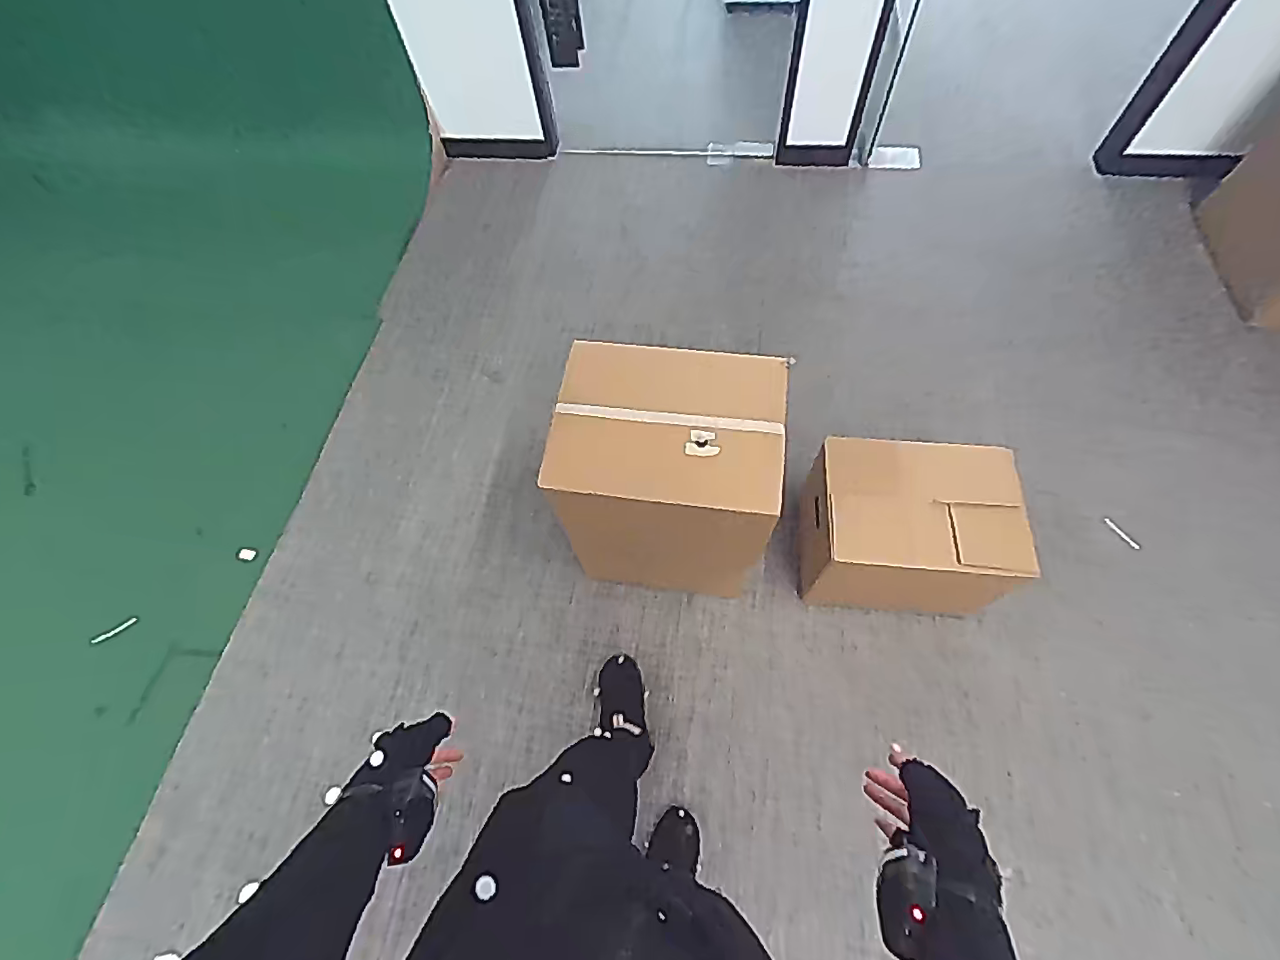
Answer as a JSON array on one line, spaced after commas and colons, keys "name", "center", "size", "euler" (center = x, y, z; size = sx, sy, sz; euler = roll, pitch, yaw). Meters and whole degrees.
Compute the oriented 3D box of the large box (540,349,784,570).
[{"name": "large box", "center": [0.052, -0.030, 1.082], "size": [0.408, 0.320, 0.320], "euler": [7, 65, 6]}]
